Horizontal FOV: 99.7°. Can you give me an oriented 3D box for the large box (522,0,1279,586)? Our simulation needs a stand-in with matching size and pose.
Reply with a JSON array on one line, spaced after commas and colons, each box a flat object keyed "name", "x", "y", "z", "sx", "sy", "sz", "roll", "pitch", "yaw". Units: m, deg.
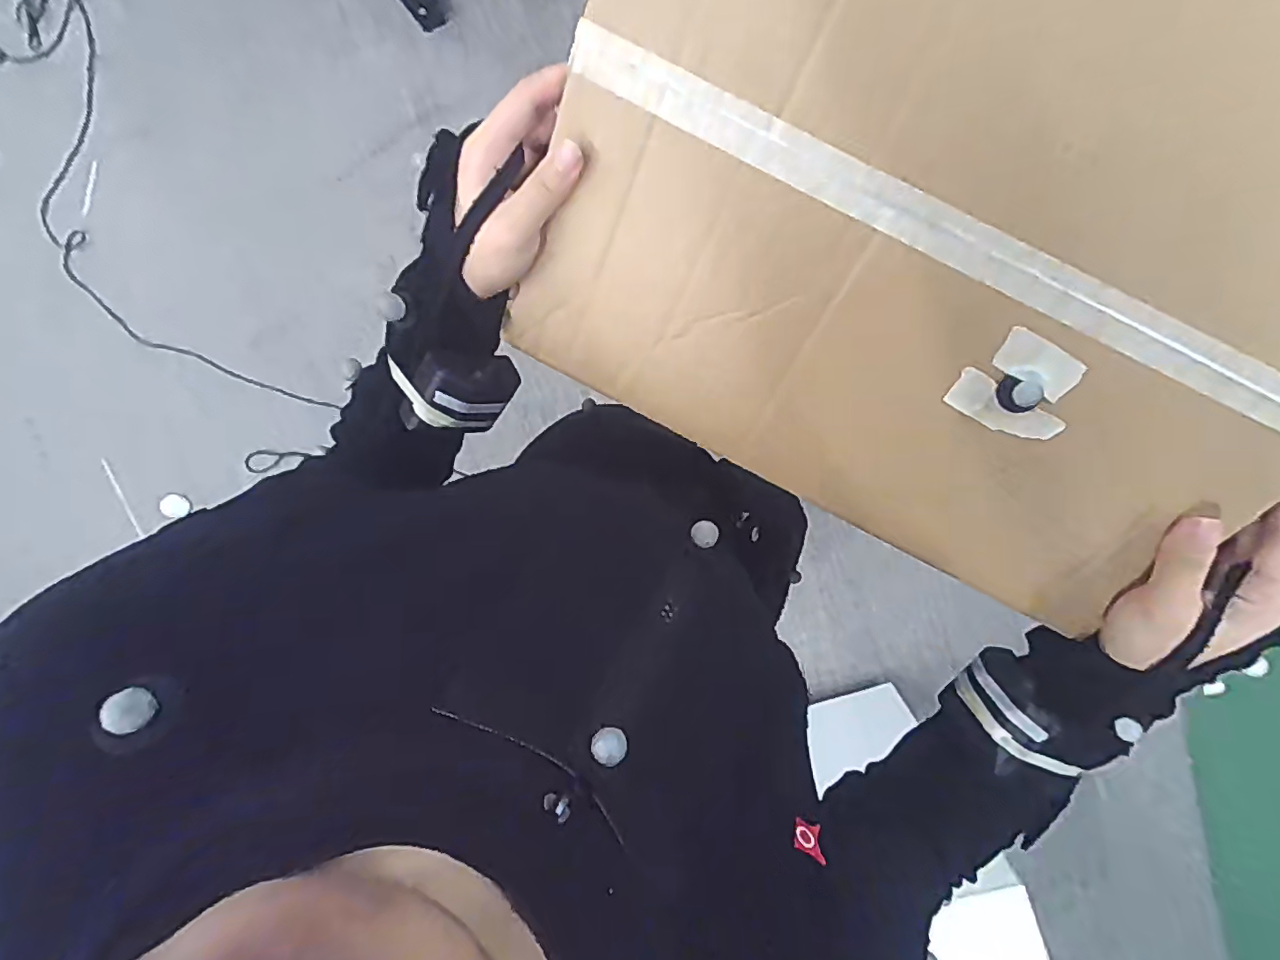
[{"name": "large box", "x": 0.189, "y": -0.202, "z": 0.388, "sx": 0.408, "sy": 0.320, "sz": 0.320, "roll": 26, "pitch": 123, "yaw": -1}]
